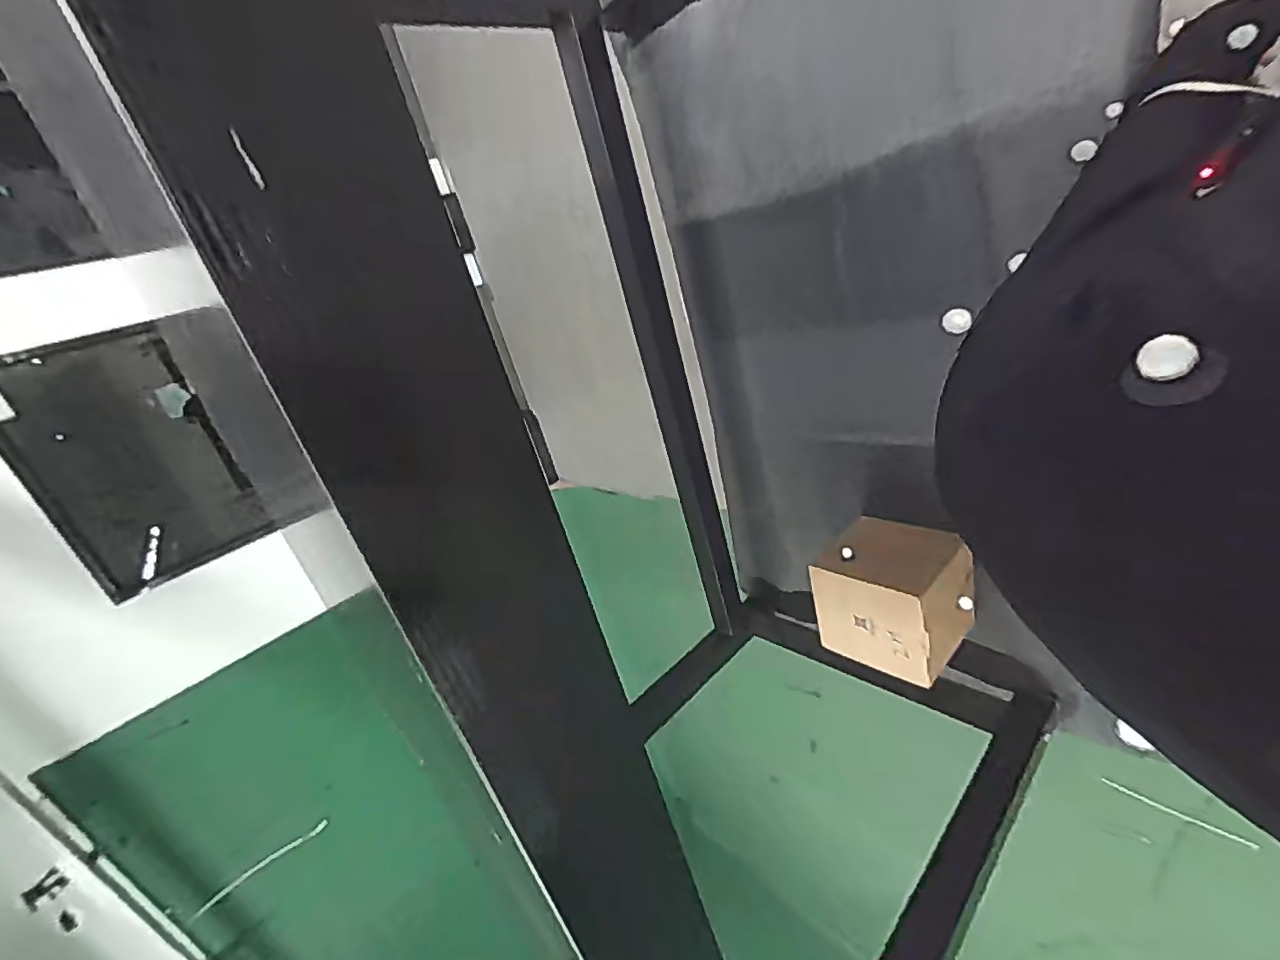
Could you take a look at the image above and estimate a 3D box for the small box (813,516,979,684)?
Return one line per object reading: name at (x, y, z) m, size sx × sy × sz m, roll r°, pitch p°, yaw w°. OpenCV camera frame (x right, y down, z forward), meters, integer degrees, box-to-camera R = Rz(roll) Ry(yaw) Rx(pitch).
small box at (0.401, 0.173, 0.846) m, size 0.179 × 0.176 × 0.168 m, roll 12°, pitch 125°, yaw 50°
